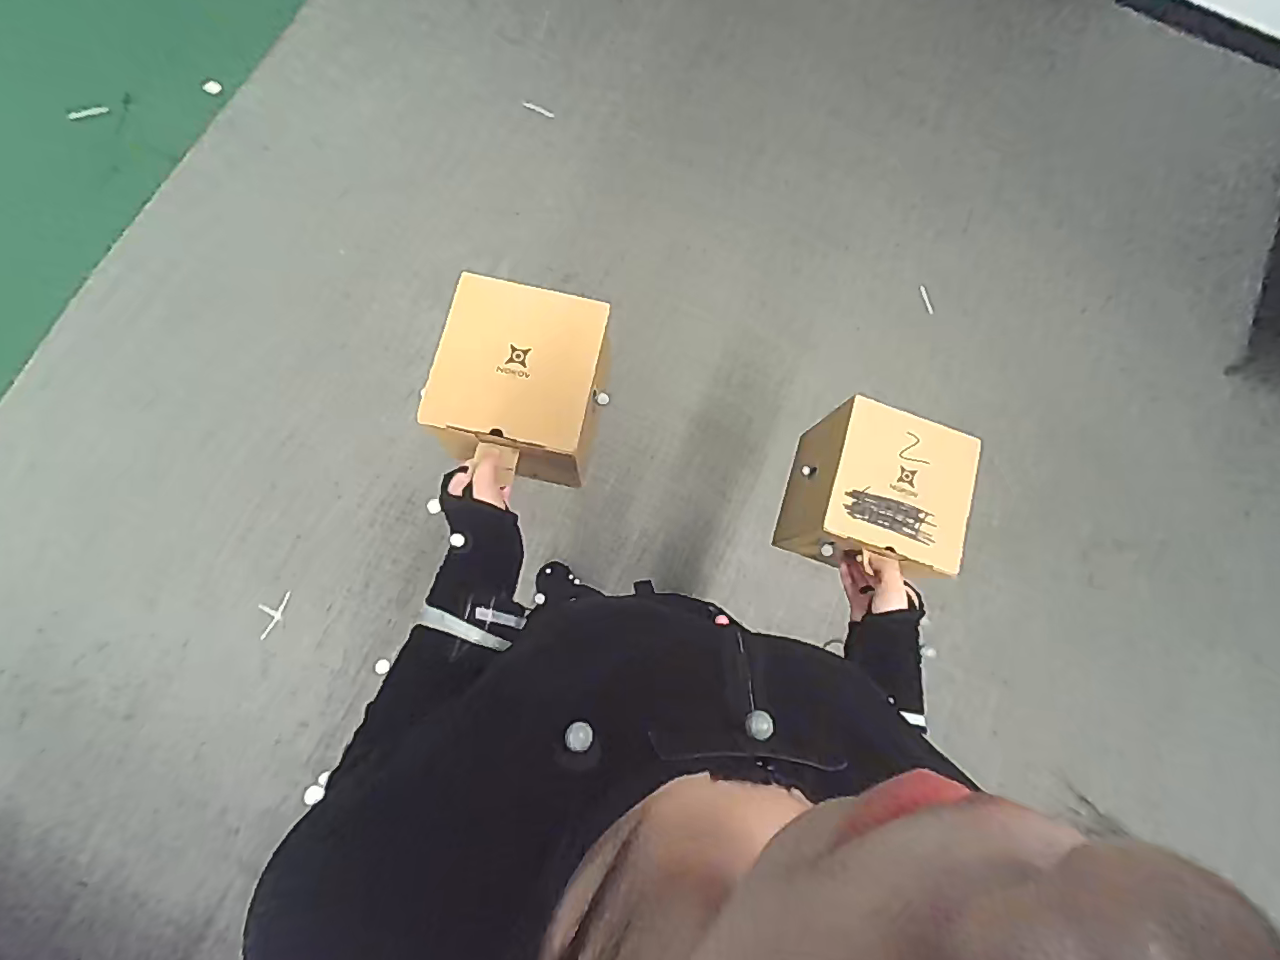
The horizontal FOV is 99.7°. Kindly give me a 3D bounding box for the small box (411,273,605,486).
[{"bbox_3d":[-0.141,-0.106,0.640,0.168,0.176,0.179,12,78,-2],"label":"small box"}]
